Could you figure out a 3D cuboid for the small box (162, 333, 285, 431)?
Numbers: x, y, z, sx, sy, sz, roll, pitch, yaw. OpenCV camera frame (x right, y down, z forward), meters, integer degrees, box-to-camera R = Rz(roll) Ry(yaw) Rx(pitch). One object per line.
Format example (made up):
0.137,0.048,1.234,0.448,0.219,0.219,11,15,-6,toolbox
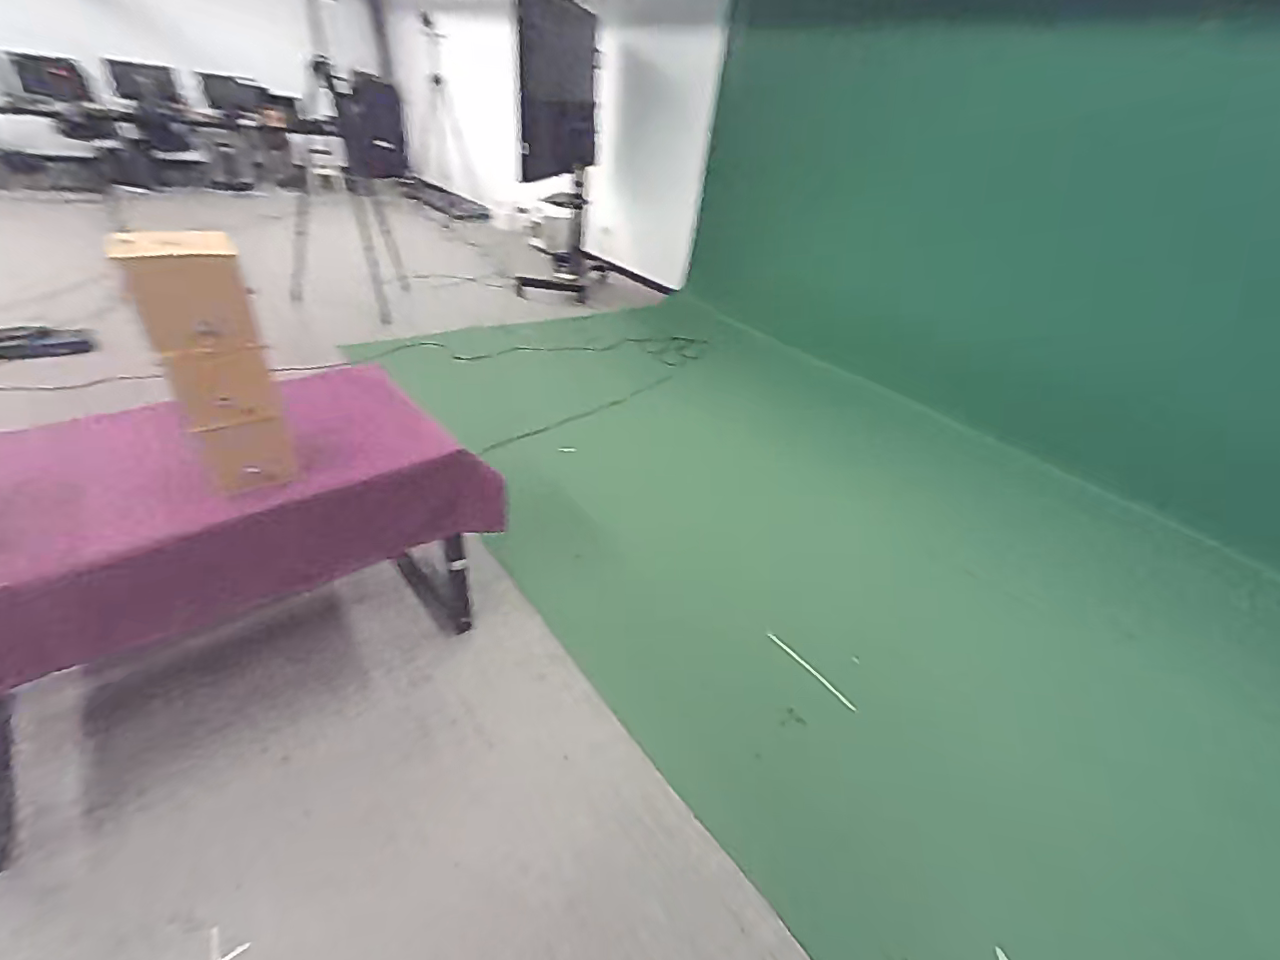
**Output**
-0.861,-0.222,1.117,0.168,0.176,0.179,-20,44,-35,small box

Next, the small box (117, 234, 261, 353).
-0.842,-0.354,1.022,0.179,0.176,0.168,-18,42,-34,small box

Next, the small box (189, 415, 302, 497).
-0.882,-0.088,1.208,0.168,0.176,0.179,-21,44,-34,small box
